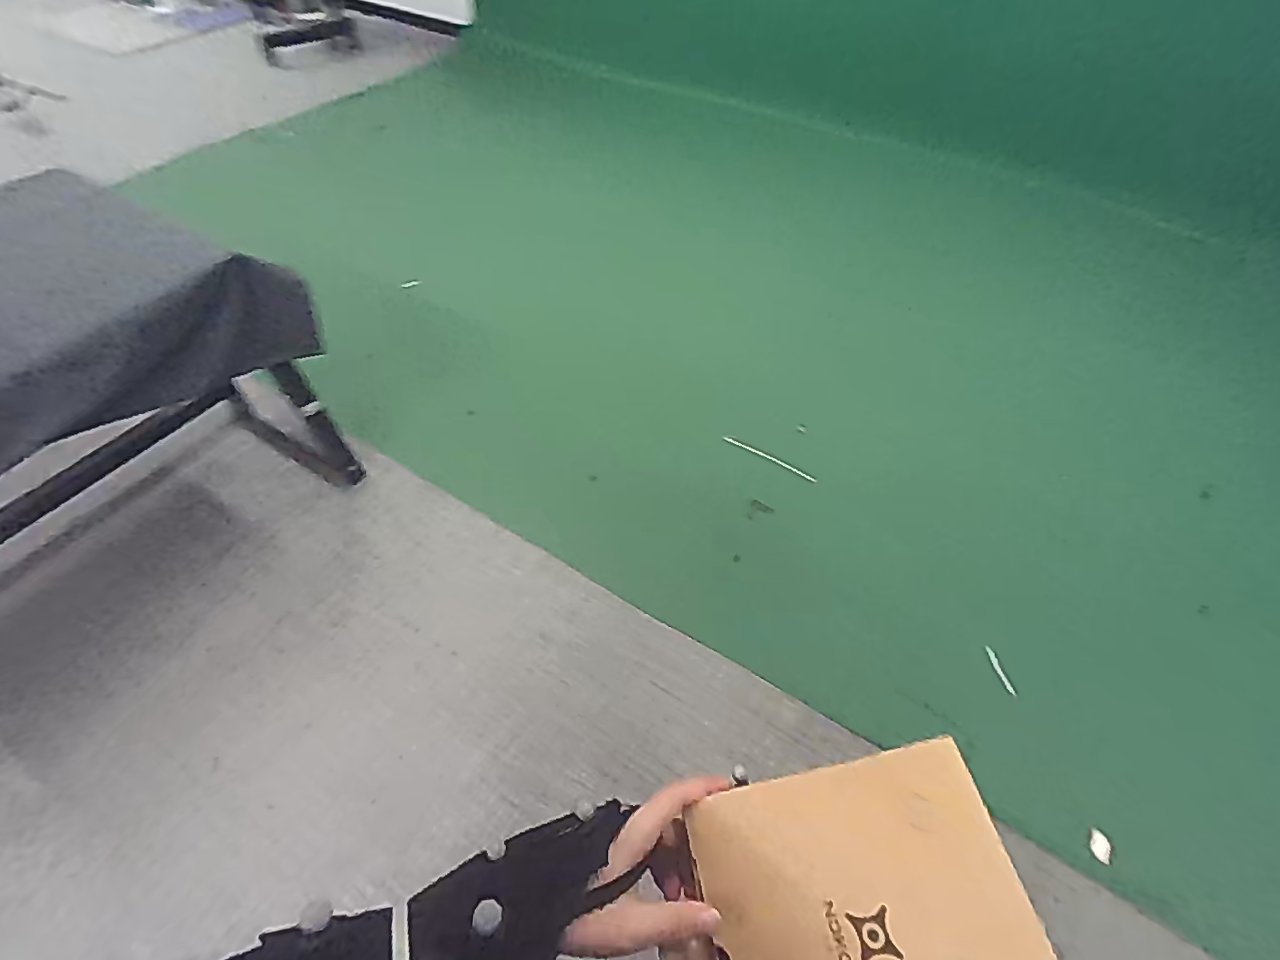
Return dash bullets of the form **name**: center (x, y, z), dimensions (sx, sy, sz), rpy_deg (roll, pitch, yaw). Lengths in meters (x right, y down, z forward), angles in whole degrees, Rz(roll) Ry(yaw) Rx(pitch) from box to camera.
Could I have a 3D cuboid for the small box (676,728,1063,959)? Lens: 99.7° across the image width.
- **small box**: center (0.144, 0.276, 0.360), dimensions (0.179, 0.176, 0.168), rpy_deg (-21, 58, 10)
